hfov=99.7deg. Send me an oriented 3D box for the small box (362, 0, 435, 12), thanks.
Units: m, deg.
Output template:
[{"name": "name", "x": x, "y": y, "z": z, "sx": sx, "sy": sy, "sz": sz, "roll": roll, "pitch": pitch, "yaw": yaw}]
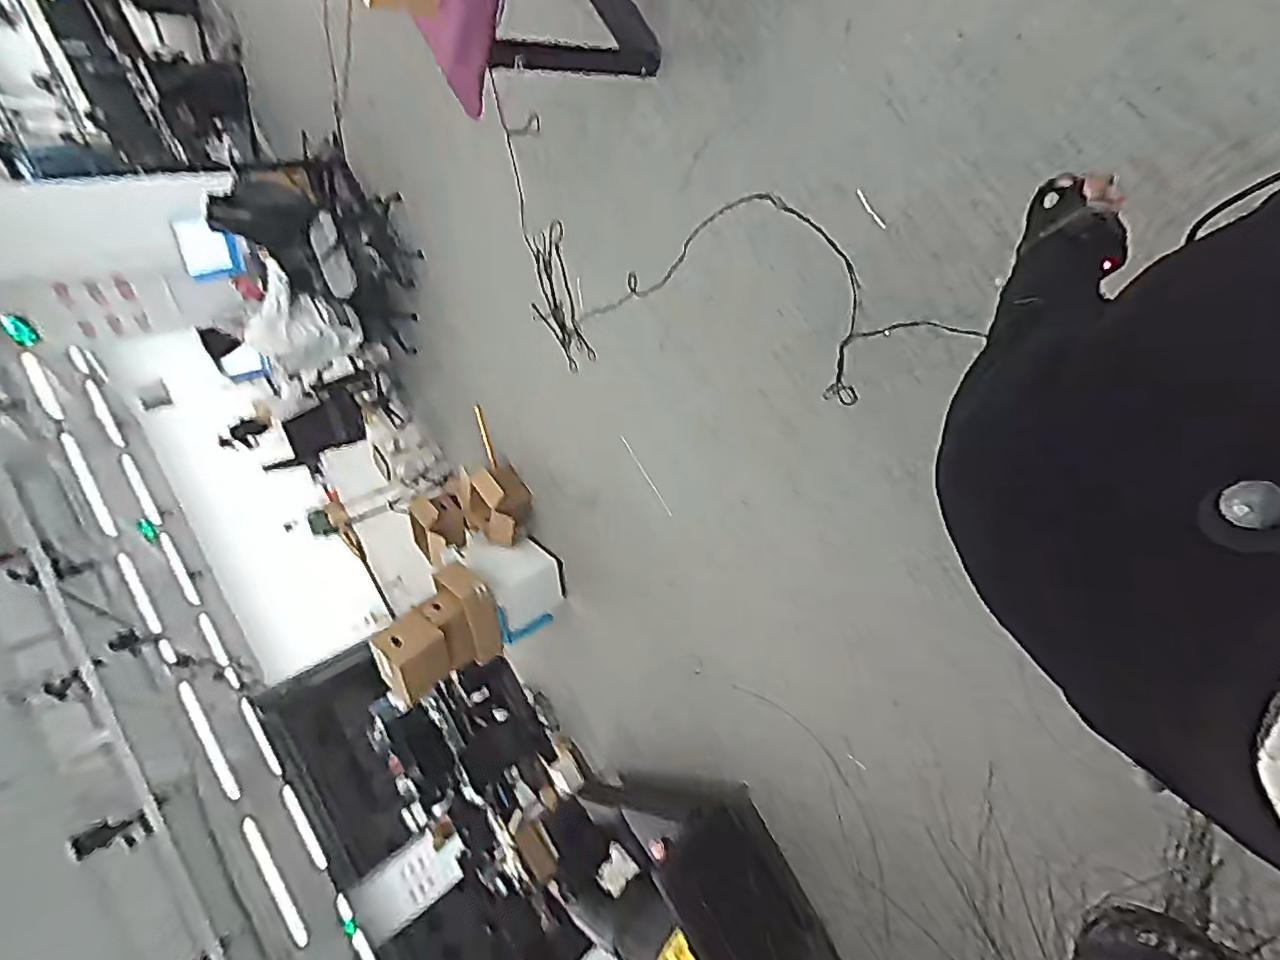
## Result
[{"name": "small box", "x": -0.553, "y": -1.188, "z": 1.197, "sx": 0.168, "sy": 0.176, "sz": 0.179, "roll": -25, "pitch": 92, "yaw": 55}]
